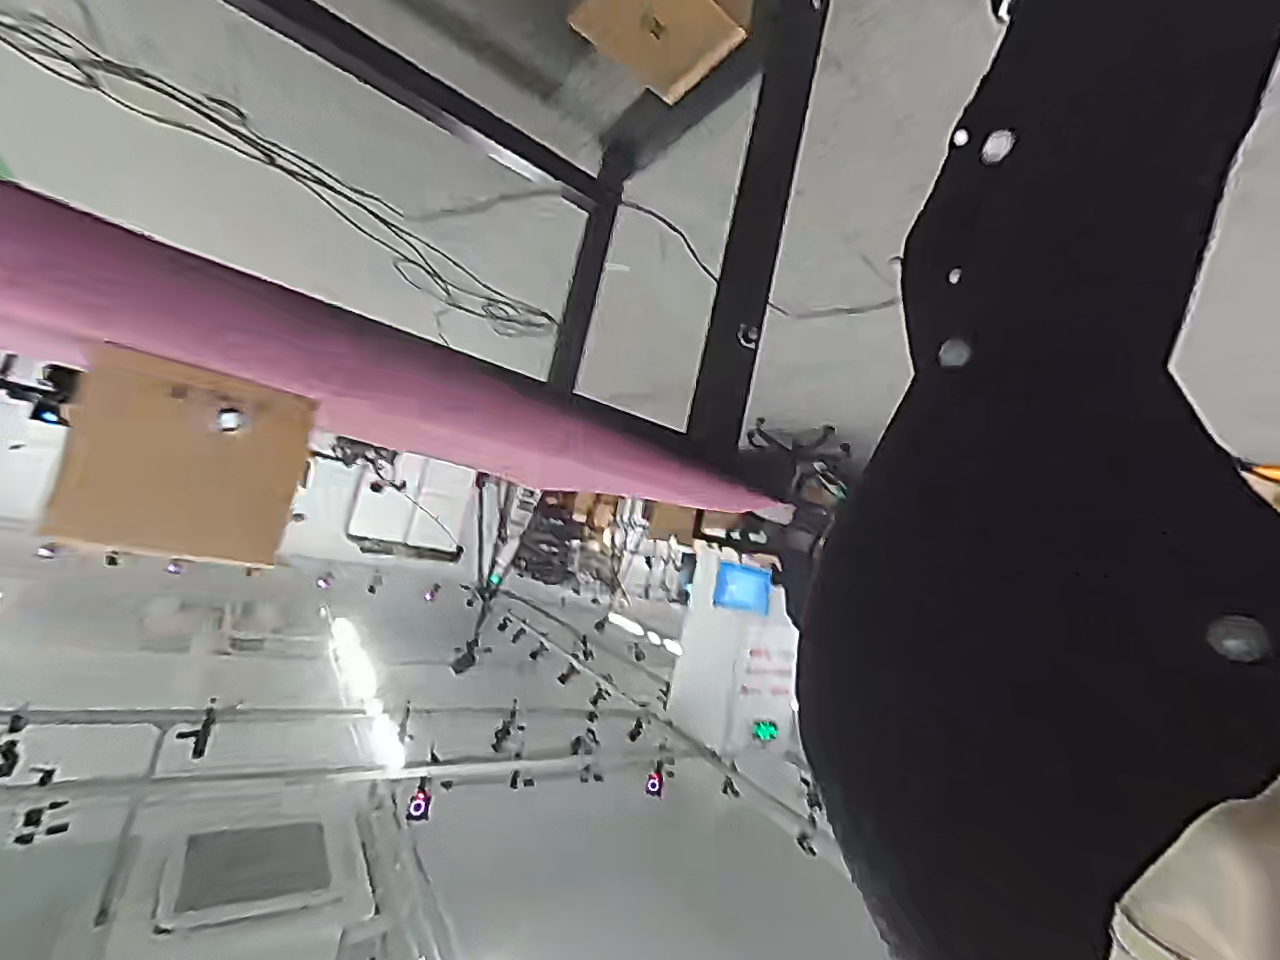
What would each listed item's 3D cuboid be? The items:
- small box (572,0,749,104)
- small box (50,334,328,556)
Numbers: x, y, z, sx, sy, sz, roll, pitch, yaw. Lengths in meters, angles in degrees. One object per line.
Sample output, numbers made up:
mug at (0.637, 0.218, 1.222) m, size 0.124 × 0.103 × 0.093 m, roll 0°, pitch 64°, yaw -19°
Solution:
small box at (0.041, -0.654, 0.699) m, size 0.179 × 0.176 × 0.168 m, roll 17°, pitch 173°, yaw -32°
small box at (-0.434, -0.031, 0.554) m, size 0.168 × 0.176 × 0.179 m, roll 16°, pitch 173°, yaw -31°
